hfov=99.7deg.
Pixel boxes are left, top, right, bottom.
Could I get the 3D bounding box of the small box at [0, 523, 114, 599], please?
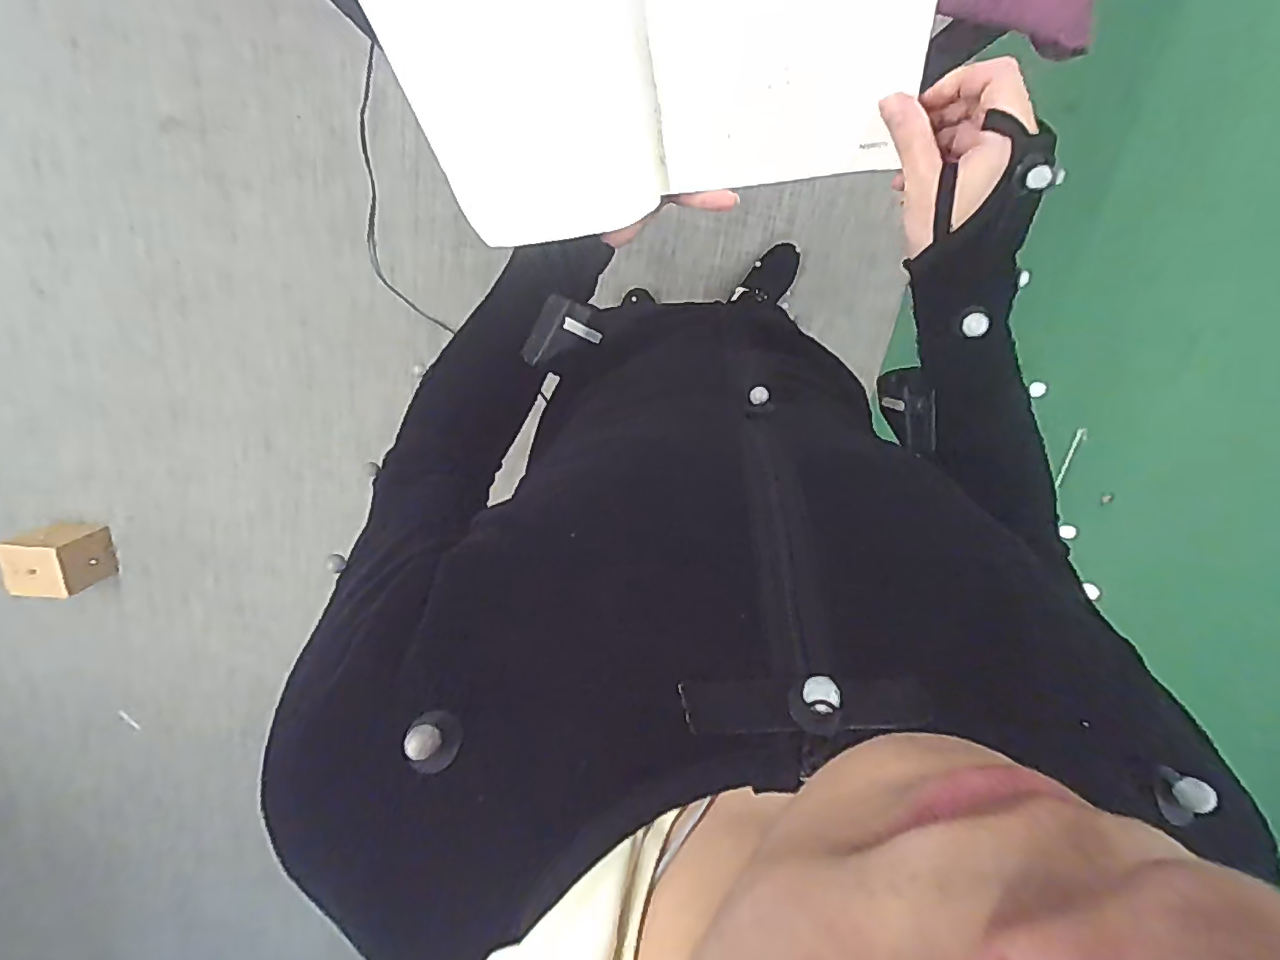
[{"bbox_3d":[-1.745,0.240,1.629,0.179,0.176,0.168,5,107,-2],"label":"small box"}]
